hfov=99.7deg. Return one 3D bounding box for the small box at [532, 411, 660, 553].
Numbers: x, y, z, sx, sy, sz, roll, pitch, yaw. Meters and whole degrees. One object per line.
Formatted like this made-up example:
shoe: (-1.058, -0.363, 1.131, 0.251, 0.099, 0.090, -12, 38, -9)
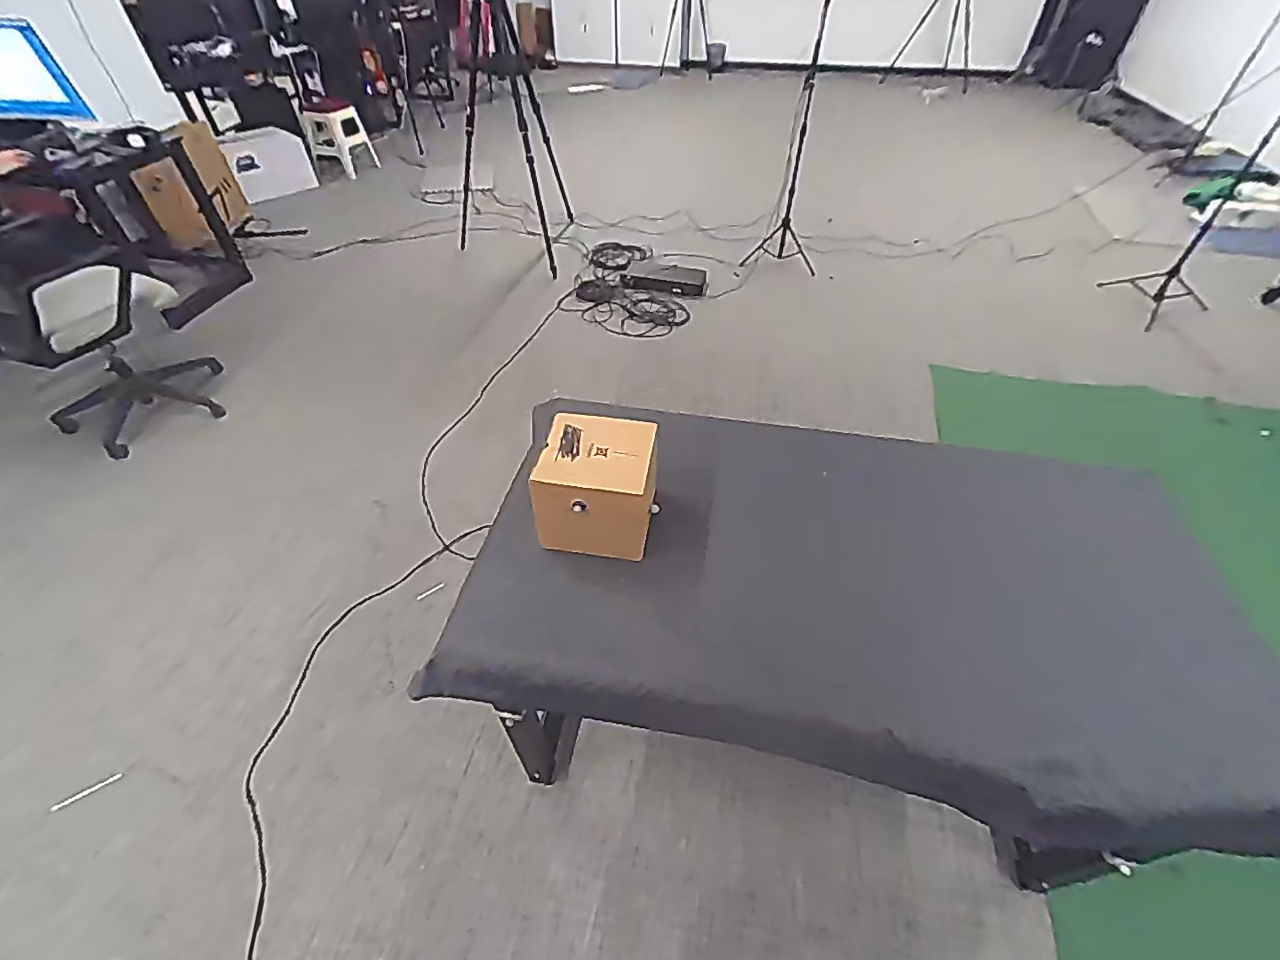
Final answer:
small box: (-0.065, 0.005, 0.912, 0.179, 0.176, 0.168, 7, 47, 6)
